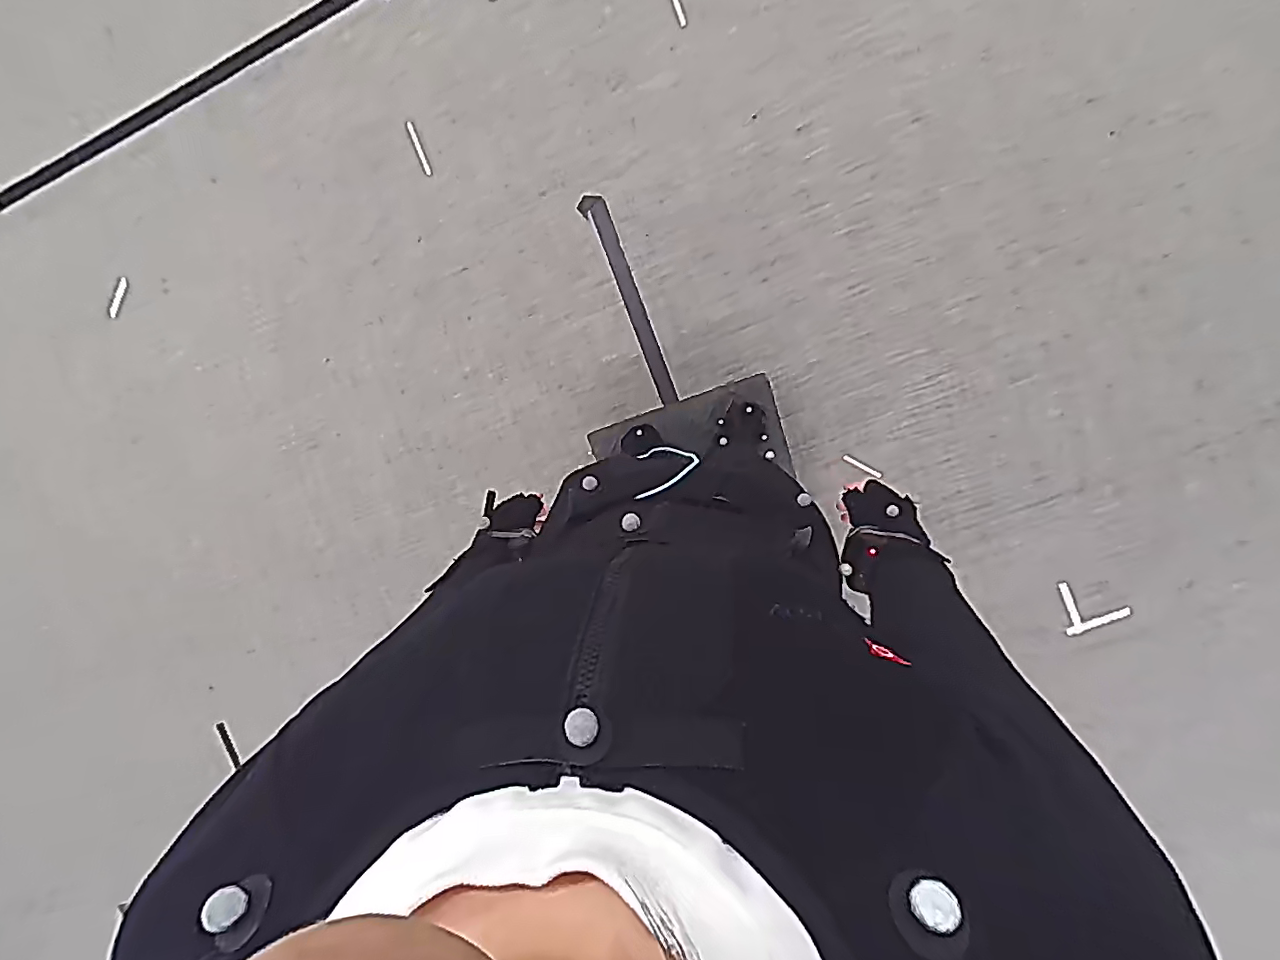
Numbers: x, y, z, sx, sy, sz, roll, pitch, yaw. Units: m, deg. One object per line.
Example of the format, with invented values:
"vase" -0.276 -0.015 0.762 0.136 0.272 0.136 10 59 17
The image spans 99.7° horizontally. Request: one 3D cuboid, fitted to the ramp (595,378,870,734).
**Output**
"ramp" 0.285 0.262 1.524 0.509 0.206 0.991 -22 94 7
